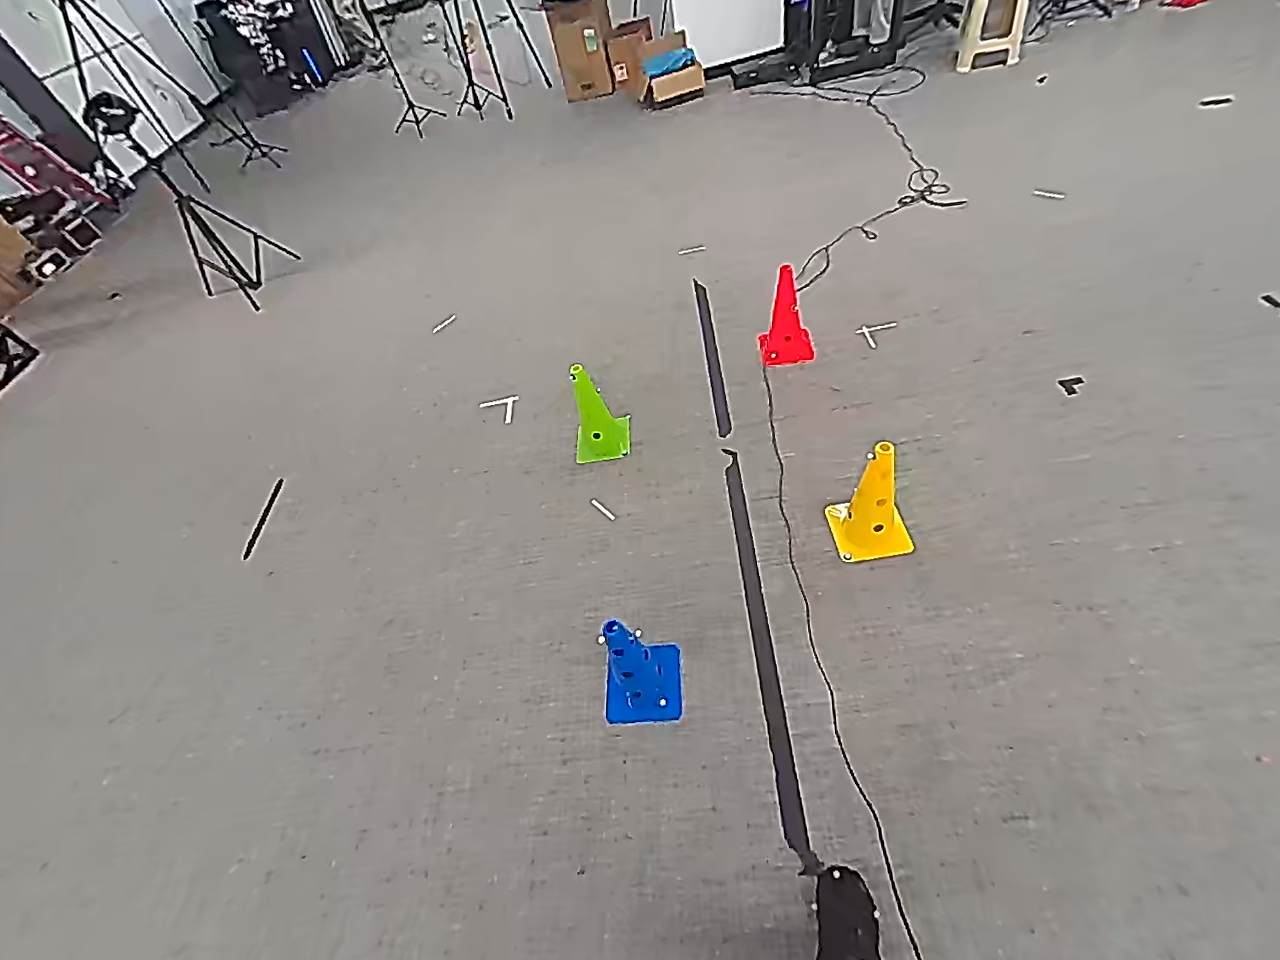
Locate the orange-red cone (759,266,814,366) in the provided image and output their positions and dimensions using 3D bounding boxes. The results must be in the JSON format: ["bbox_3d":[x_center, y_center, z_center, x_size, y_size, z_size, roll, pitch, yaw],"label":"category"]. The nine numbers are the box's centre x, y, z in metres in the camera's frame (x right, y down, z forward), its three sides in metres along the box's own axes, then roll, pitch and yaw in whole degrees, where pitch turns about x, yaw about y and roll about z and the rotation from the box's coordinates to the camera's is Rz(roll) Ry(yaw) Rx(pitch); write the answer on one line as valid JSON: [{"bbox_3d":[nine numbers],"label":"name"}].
[{"bbox_3d":[0.545,-0.626,2.007,0.199,0.360,0.198,-4,52,10],"label":"orange-red cone"}]

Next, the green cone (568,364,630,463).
[{"bbox_3d":[-0.172,-0.258,1.892,0.202,0.368,0.200,-9,50,9],"label":"green cone"}]

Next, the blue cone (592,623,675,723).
[{"bbox_3d":[-0.036,0.438,1.307,0.192,0.380,0.193,-6,50,11],"label":"blue cone"}]
